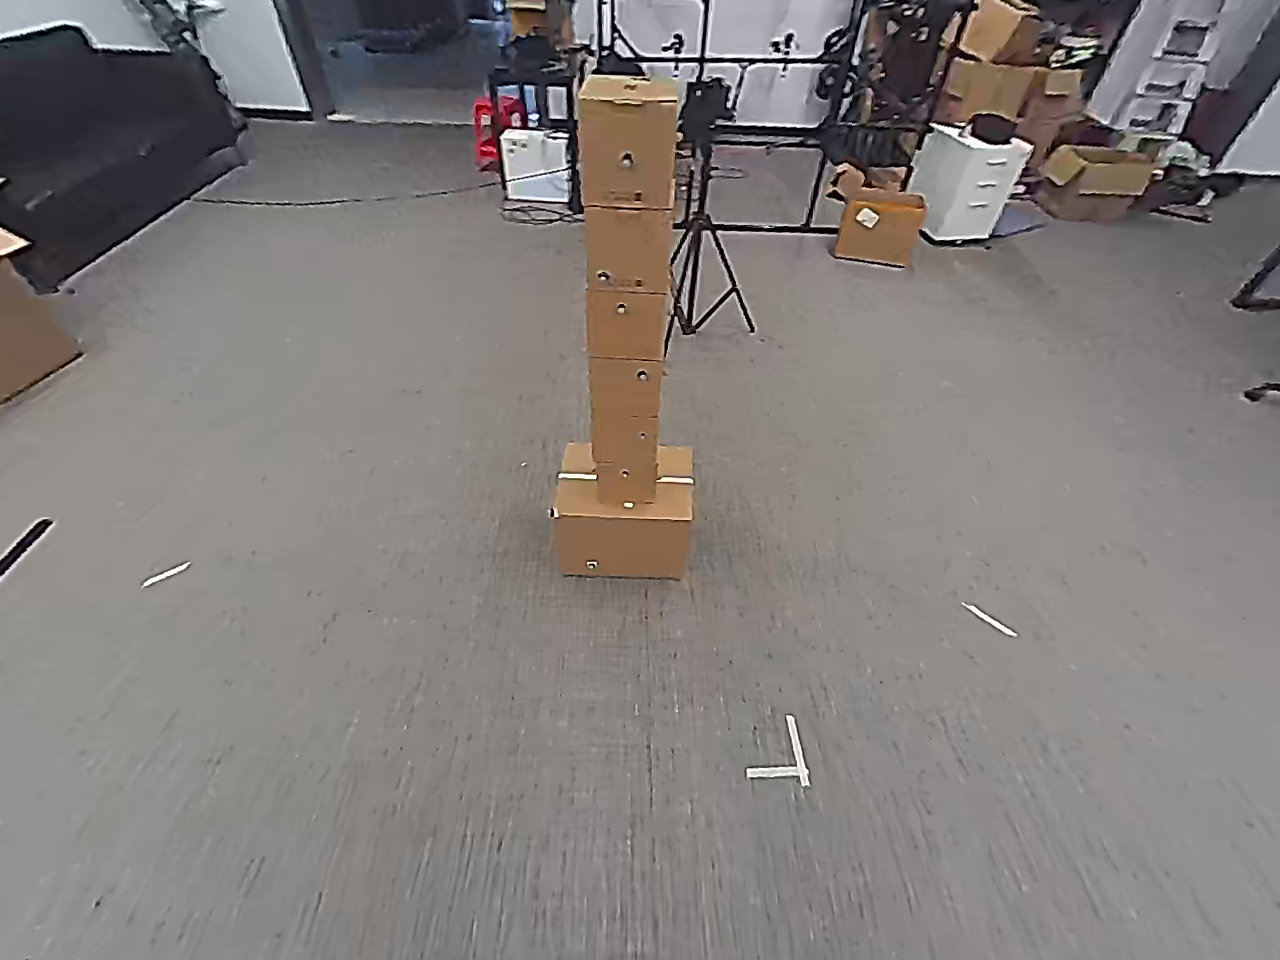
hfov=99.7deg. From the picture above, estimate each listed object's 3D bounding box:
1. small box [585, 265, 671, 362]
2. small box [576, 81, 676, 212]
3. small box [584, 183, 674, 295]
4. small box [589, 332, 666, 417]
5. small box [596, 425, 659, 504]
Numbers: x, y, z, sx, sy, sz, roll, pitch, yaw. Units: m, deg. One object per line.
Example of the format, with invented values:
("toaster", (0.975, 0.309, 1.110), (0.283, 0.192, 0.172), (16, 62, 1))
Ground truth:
("small box", (-0.025, -0.384, 1.229), (0.179, 0.176, 0.168), (3, 47, 1))
("small box", (-0.020, -0.609, 0.990), (0.168, 0.176, 0.179), (3, 48, 0))
("small box", (-0.018, -0.497, 1.111), (0.168, 0.176, 0.179), (3, 46, 1))
("small box", (-0.030, -0.272, 1.346), (0.179, 0.176, 0.168), (3, 46, 1))
("small box", (-0.037, -0.044, 1.582), (0.179, 0.176, 0.168), (1, 47, -3))
